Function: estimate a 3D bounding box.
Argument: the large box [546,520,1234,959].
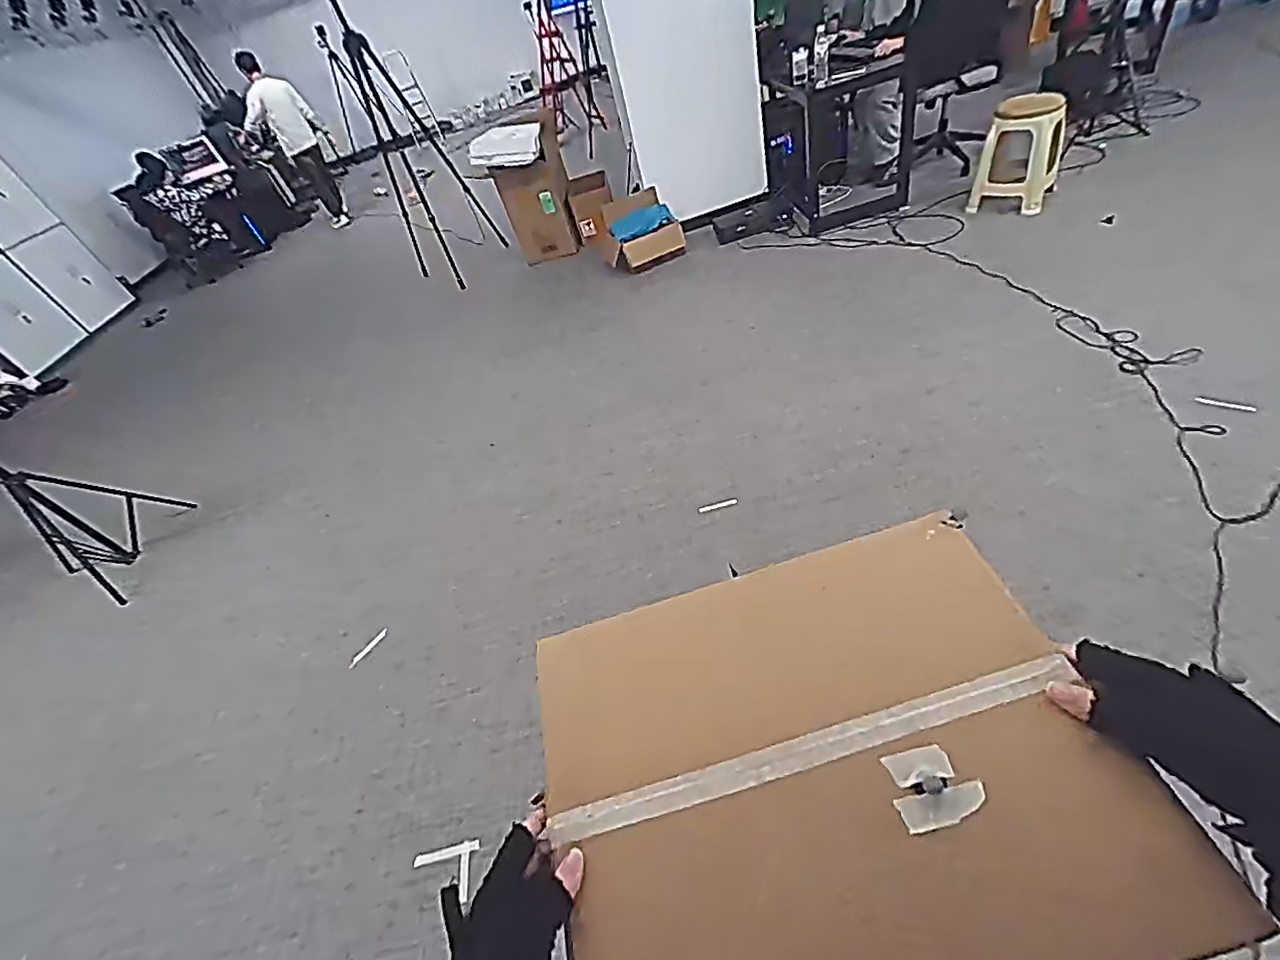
[{"bbox_3d":[0.162,0.303,0.527,0.408,0.320,0.320,-18,48,0],"label":"large box"}]
